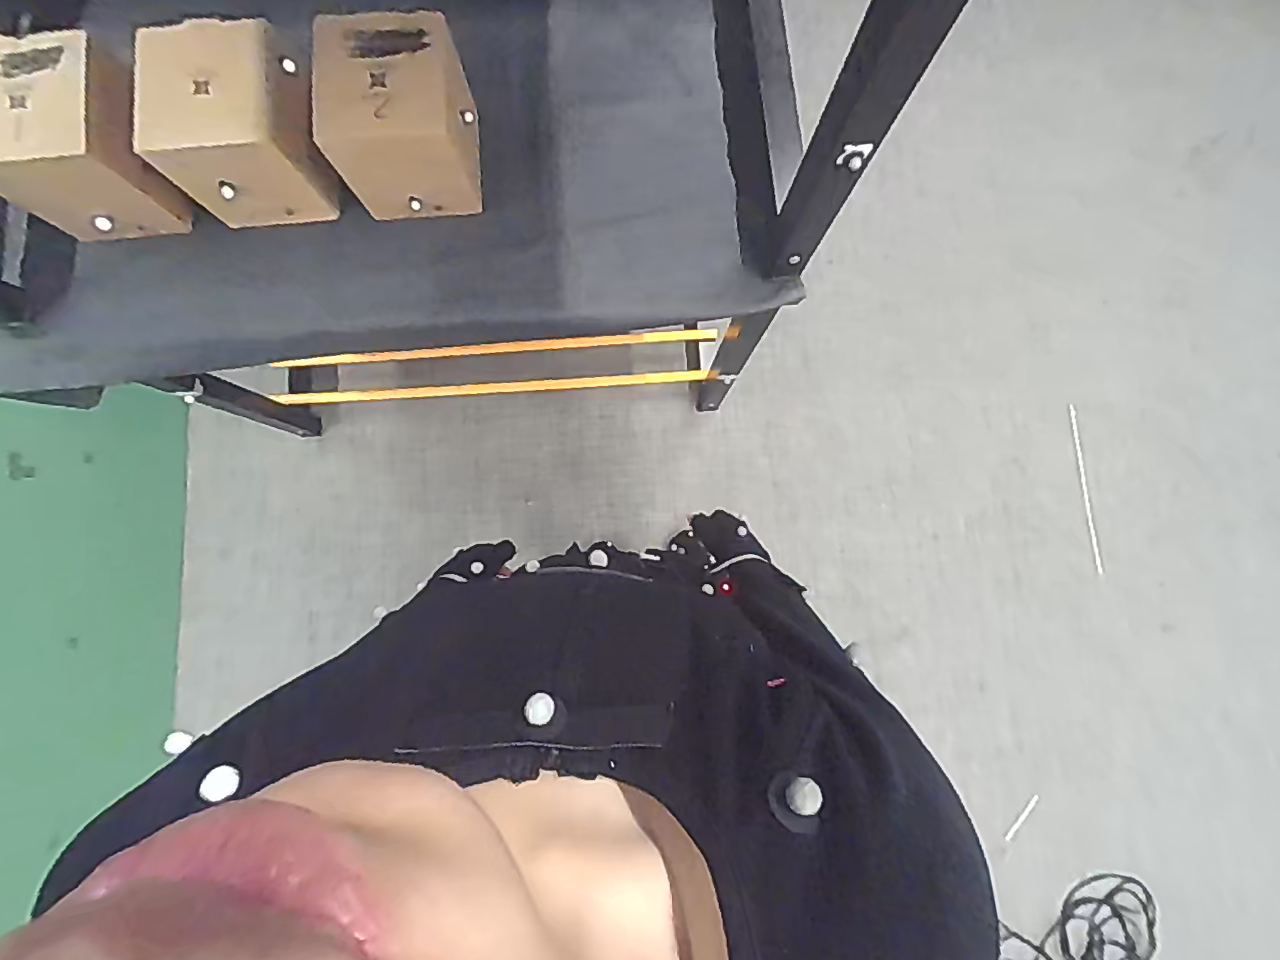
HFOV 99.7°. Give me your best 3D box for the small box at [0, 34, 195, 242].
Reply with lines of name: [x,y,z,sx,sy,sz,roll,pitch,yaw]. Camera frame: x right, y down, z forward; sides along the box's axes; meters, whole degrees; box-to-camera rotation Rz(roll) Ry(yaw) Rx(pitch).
small box: [-0.763,-0.462,0.750,0.168,0.176,0.179,-7,83,-1]
